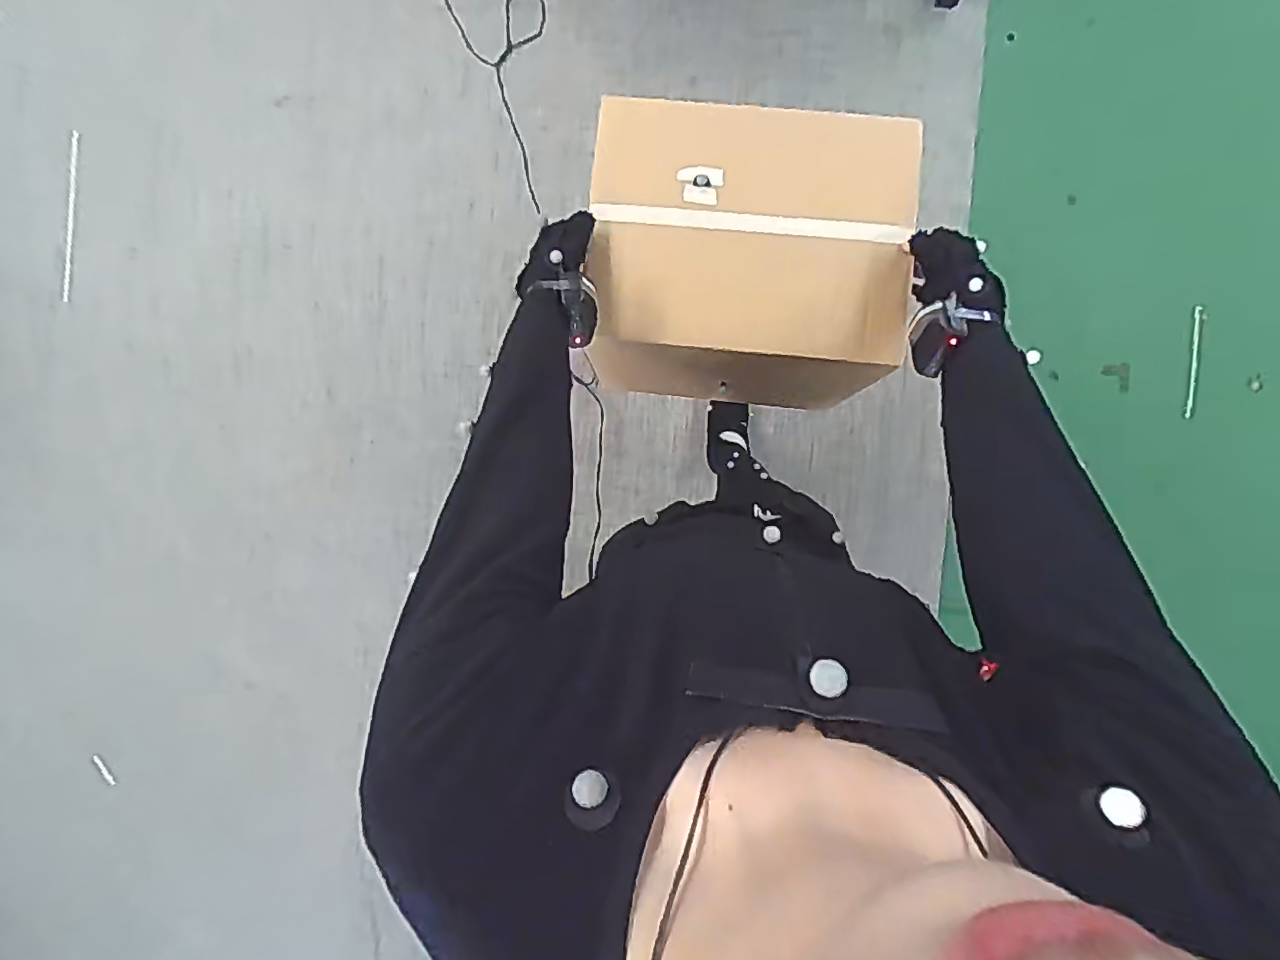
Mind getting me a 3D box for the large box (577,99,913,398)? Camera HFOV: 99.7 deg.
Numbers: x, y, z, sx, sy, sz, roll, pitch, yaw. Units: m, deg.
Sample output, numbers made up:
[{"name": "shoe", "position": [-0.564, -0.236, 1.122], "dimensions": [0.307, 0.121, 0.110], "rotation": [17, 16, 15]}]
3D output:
[{"name": "large box", "position": [0.139, -0.312, 0.819], "dimensions": [0.408, 0.320, 0.320], "rotation": [5, 87, 3]}]
